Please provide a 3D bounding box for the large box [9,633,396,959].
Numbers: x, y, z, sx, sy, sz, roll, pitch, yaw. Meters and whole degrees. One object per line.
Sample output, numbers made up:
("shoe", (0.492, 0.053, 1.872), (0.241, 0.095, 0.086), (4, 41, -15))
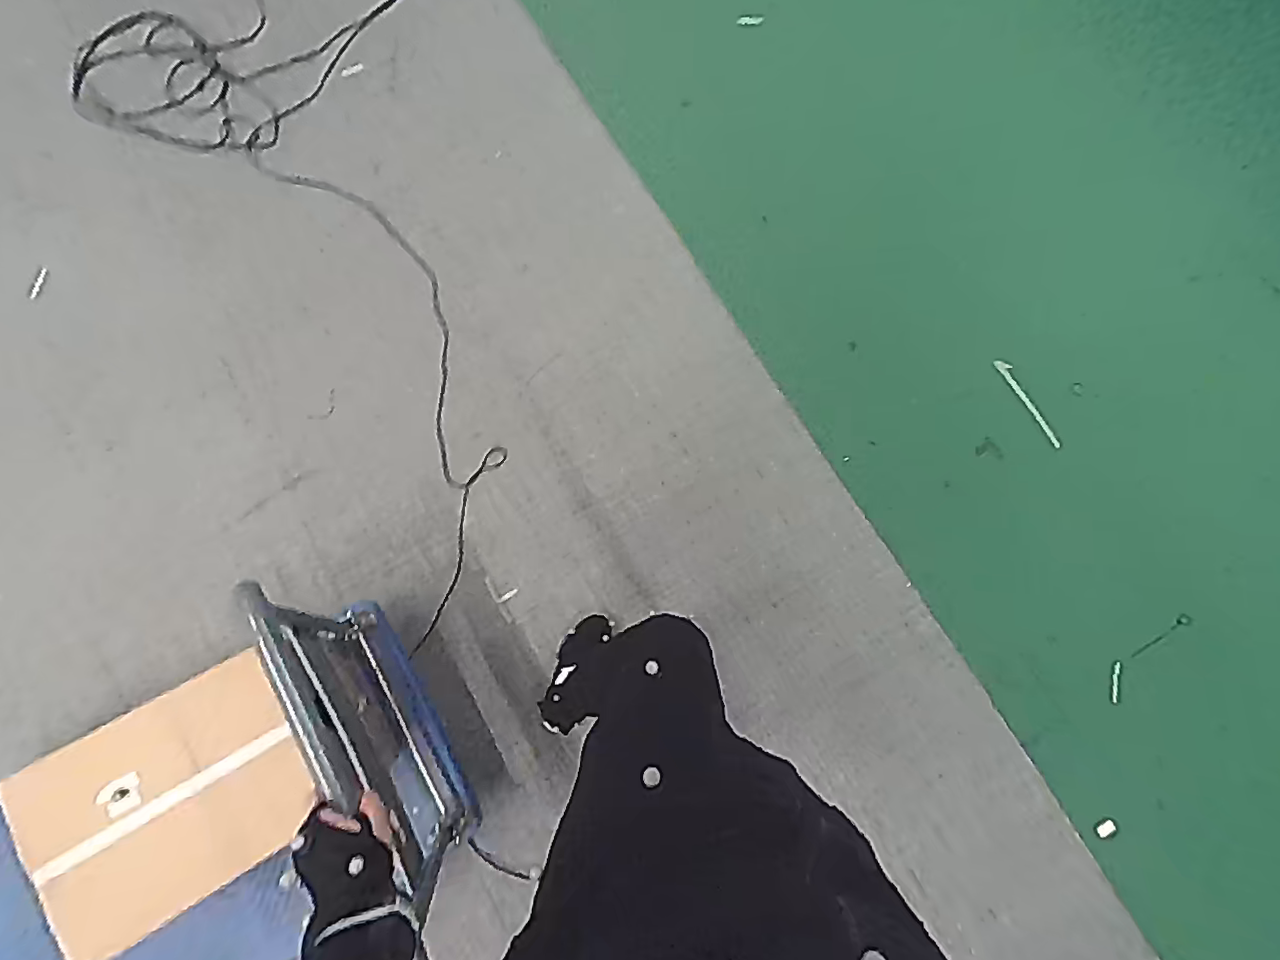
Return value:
("large box", (-0.740, 0.524, 0.996), (0.408, 0.320, 0.320), (-29, 82, -17))
